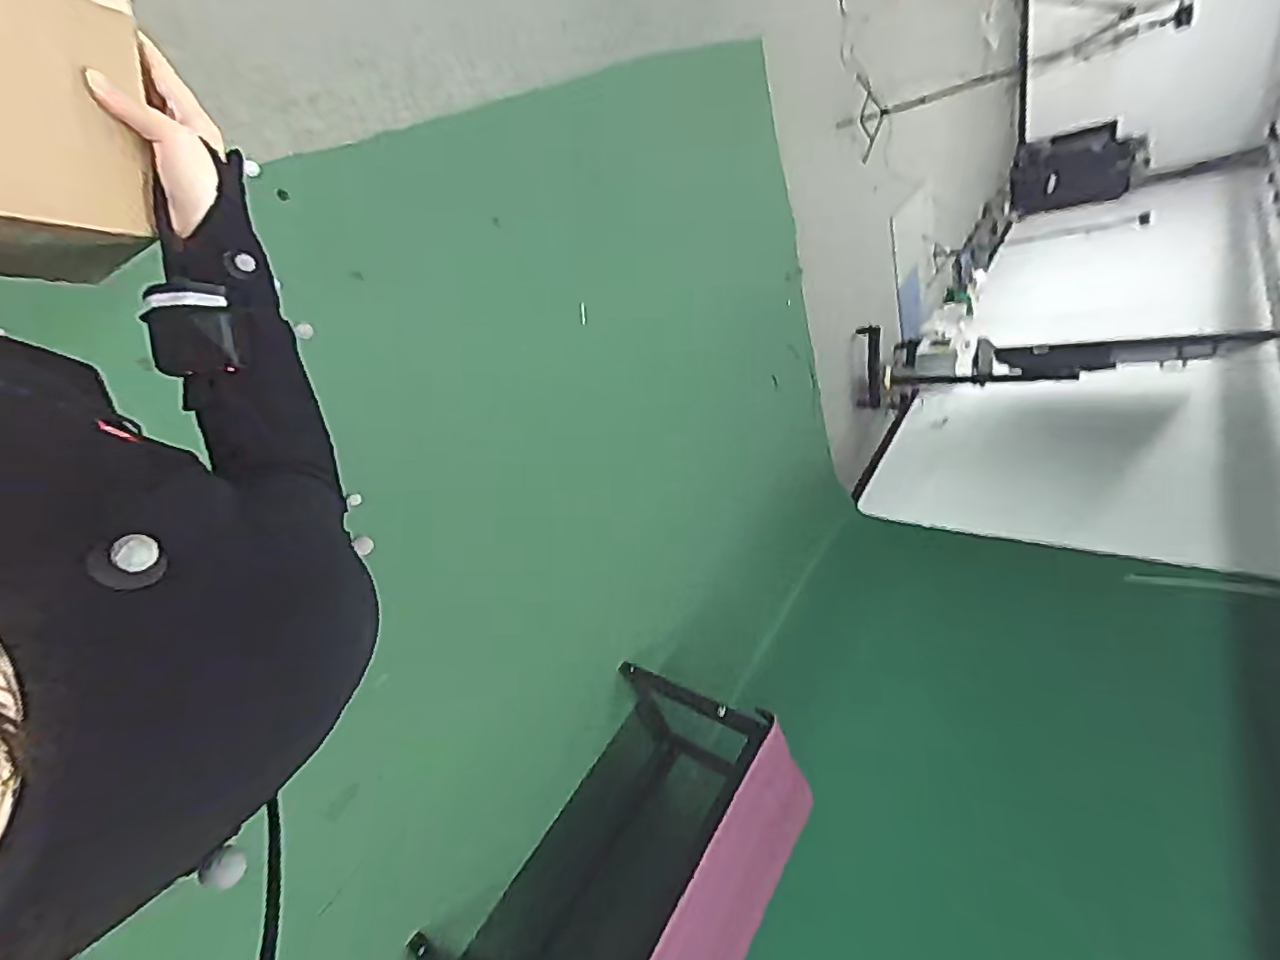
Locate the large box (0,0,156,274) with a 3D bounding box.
[{"bbox_3d":[-0.610,-0.321,0.317,0.408,0.320,0.320,-15,109,-51],"label":"large box"}]
